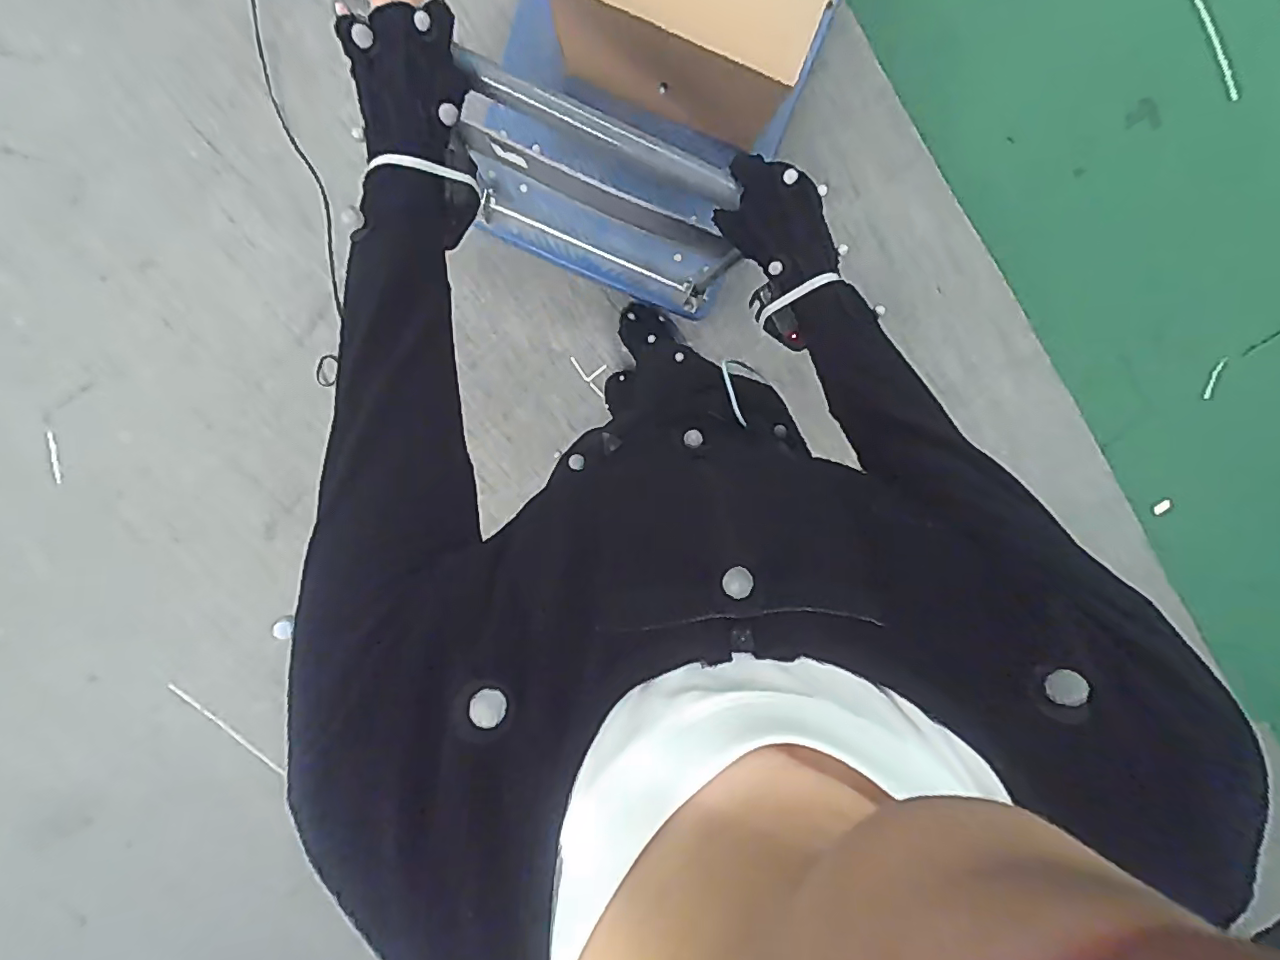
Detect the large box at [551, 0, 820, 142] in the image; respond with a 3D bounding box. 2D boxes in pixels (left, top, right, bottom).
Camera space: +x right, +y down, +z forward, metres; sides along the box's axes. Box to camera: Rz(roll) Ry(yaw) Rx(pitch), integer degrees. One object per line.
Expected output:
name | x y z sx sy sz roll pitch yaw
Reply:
large box | 0.093 -0.856 0.925 0.408 0.320 0.320 19 103 -7
